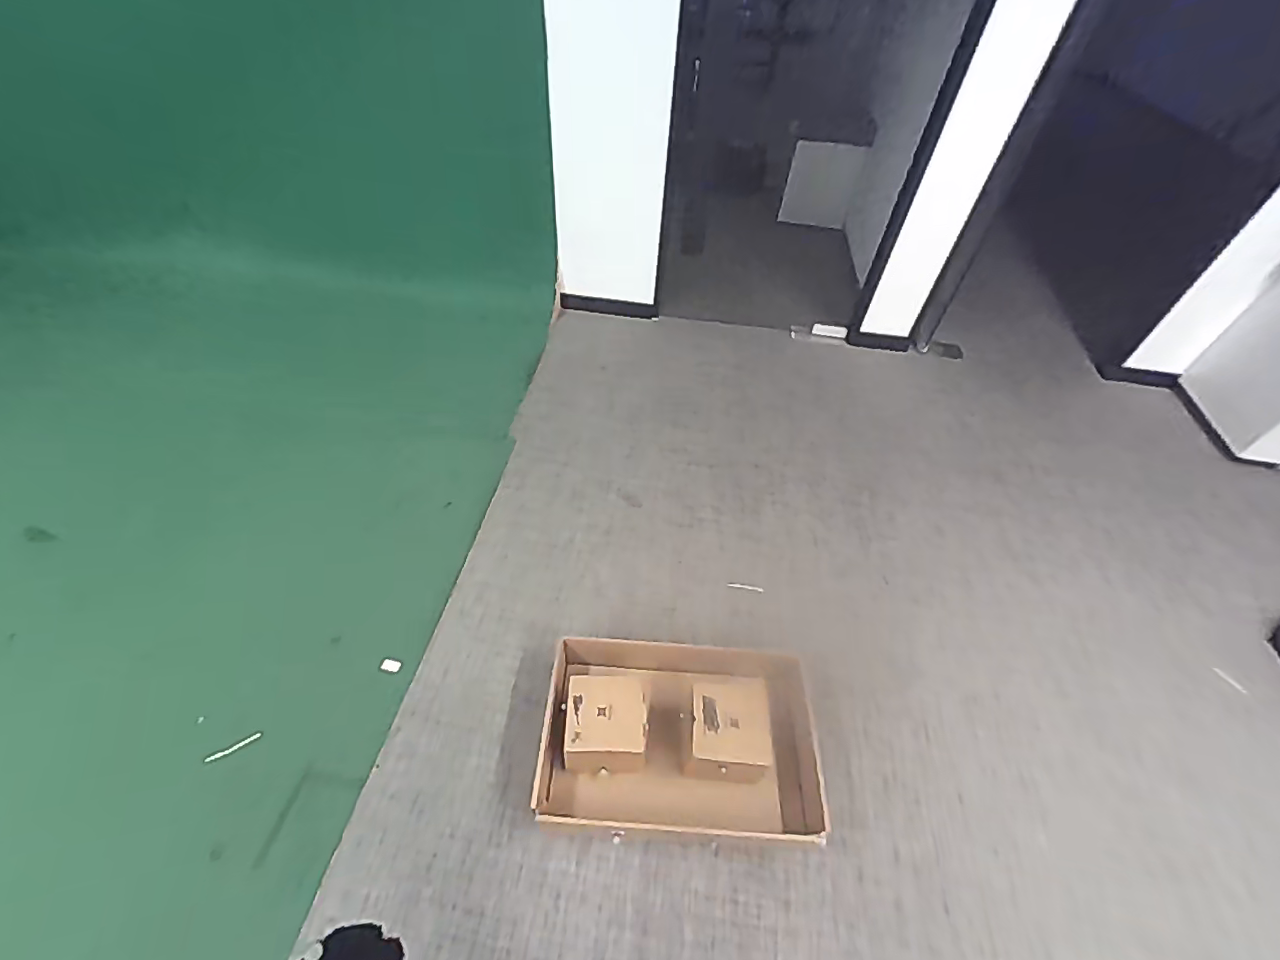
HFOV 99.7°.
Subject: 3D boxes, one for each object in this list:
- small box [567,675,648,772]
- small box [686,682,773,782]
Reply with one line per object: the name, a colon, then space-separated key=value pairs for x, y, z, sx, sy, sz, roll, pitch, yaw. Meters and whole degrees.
small box: x=-0.077 y=0.574 z=1.269 sx=0.179 sy=0.176 sz=0.168 roll=3 pitch=48 yaw=-3
small box: x=0.203 y=0.595 z=1.271 sx=0.179 sy=0.176 sz=0.168 roll=5 pitch=48 yaw=1
